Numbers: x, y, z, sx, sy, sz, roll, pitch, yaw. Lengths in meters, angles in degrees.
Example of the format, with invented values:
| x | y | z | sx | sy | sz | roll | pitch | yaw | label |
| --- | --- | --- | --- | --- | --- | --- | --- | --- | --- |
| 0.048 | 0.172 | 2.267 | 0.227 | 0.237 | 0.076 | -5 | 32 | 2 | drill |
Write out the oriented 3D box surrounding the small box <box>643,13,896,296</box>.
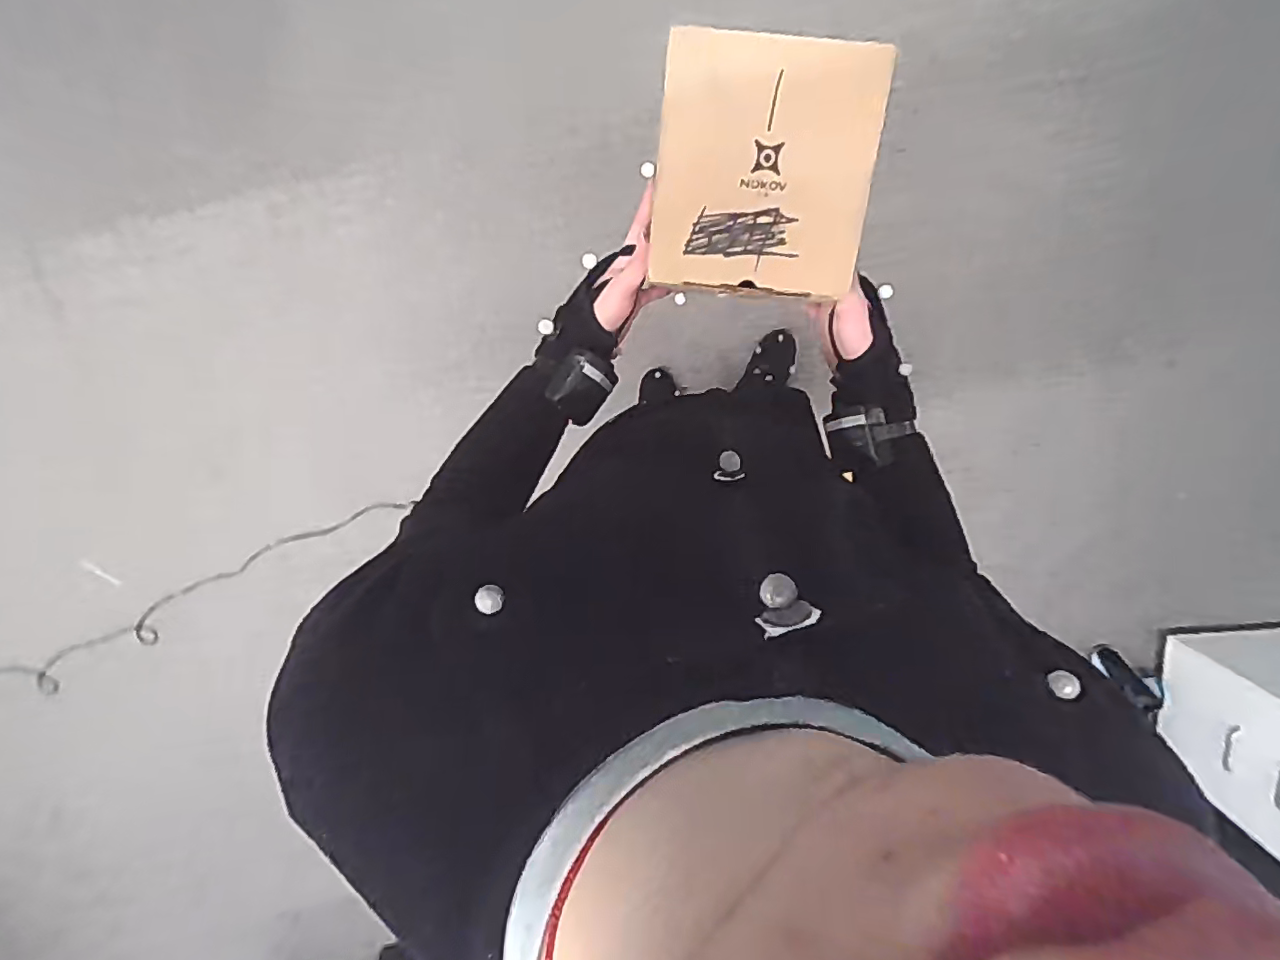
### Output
| x | y | z | sx | sy | sz | roll | pitch | yaw | label |
| --- | --- | --- | --- | --- | --- | --- | --- | --- | --- |
| 0.095 | -0.262 | 0.480 | 0.168 | 0.176 | 0.179 | 6 | 108 | 1 | small box |
